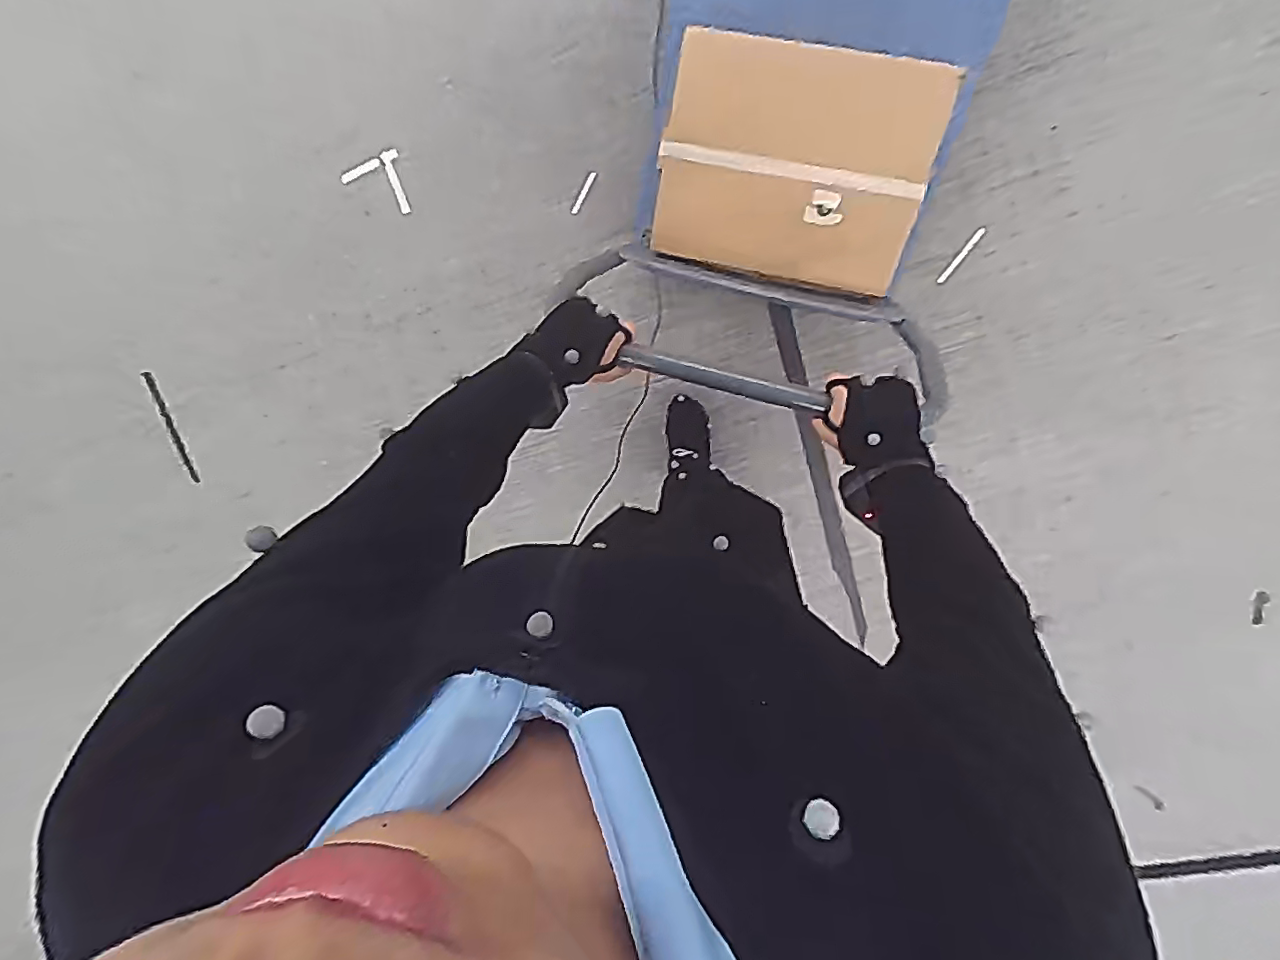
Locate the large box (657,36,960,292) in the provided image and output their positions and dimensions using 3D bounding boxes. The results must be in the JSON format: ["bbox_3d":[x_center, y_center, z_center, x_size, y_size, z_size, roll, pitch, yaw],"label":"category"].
[{"bbox_3d":[0.271,-0.551,0.989,0.408,0.320,0.320,14,117,6],"label":"large box"}]
